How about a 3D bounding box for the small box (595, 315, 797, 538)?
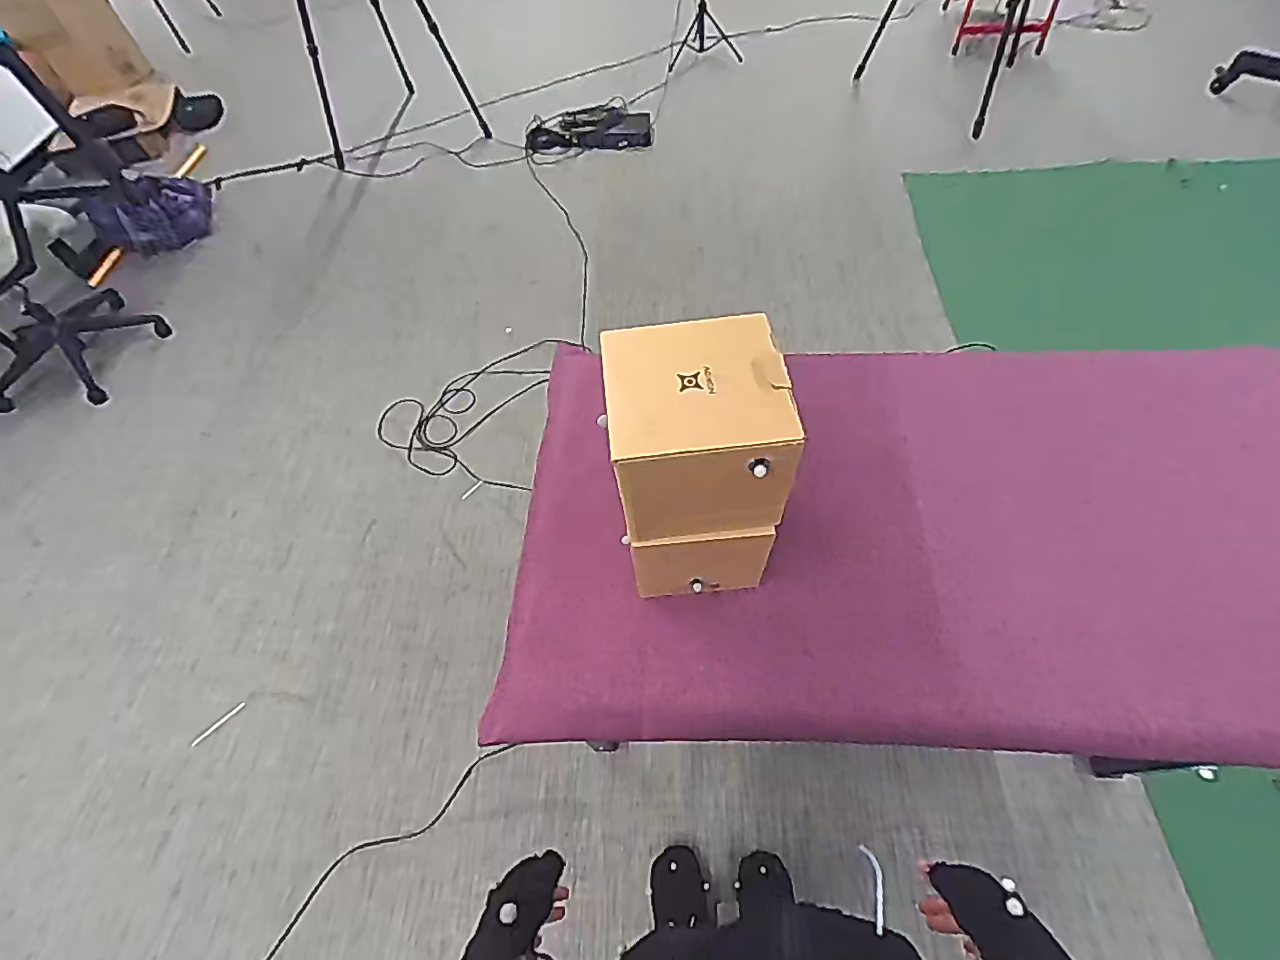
[{"bbox_3d":[0.053,-0.050,0.586,0.179,0.176,0.168,-7,58,0],"label":"small box"}]
